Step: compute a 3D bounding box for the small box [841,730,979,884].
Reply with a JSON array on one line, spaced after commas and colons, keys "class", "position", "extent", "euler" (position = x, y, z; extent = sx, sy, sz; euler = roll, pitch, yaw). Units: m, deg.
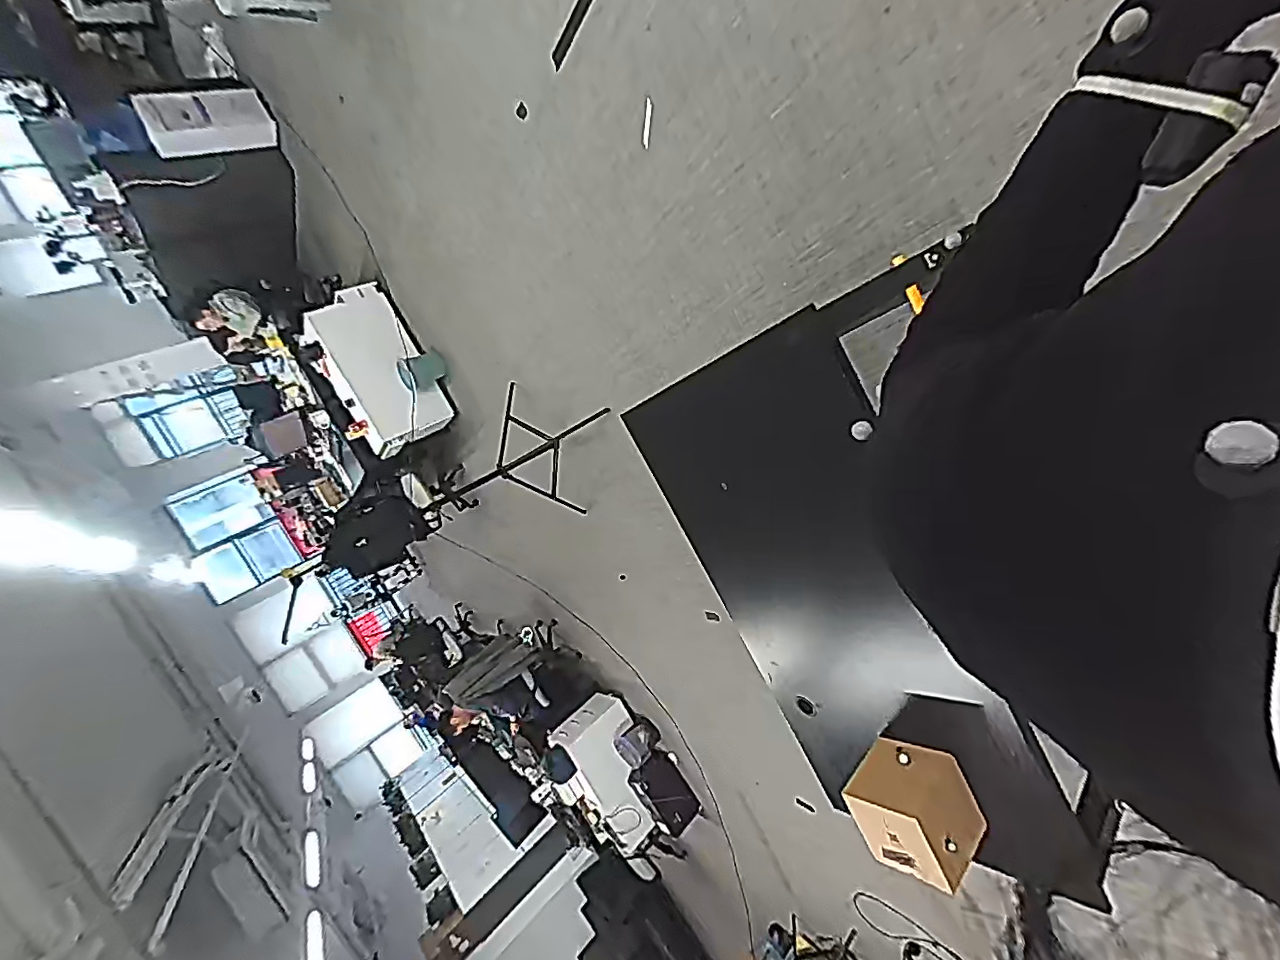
[{"class": "small box", "position": [0.553, 0.652, 1.101], "extent": [0.168, 0.176, 0.179], "euler": [-18, 102, 56]}]
